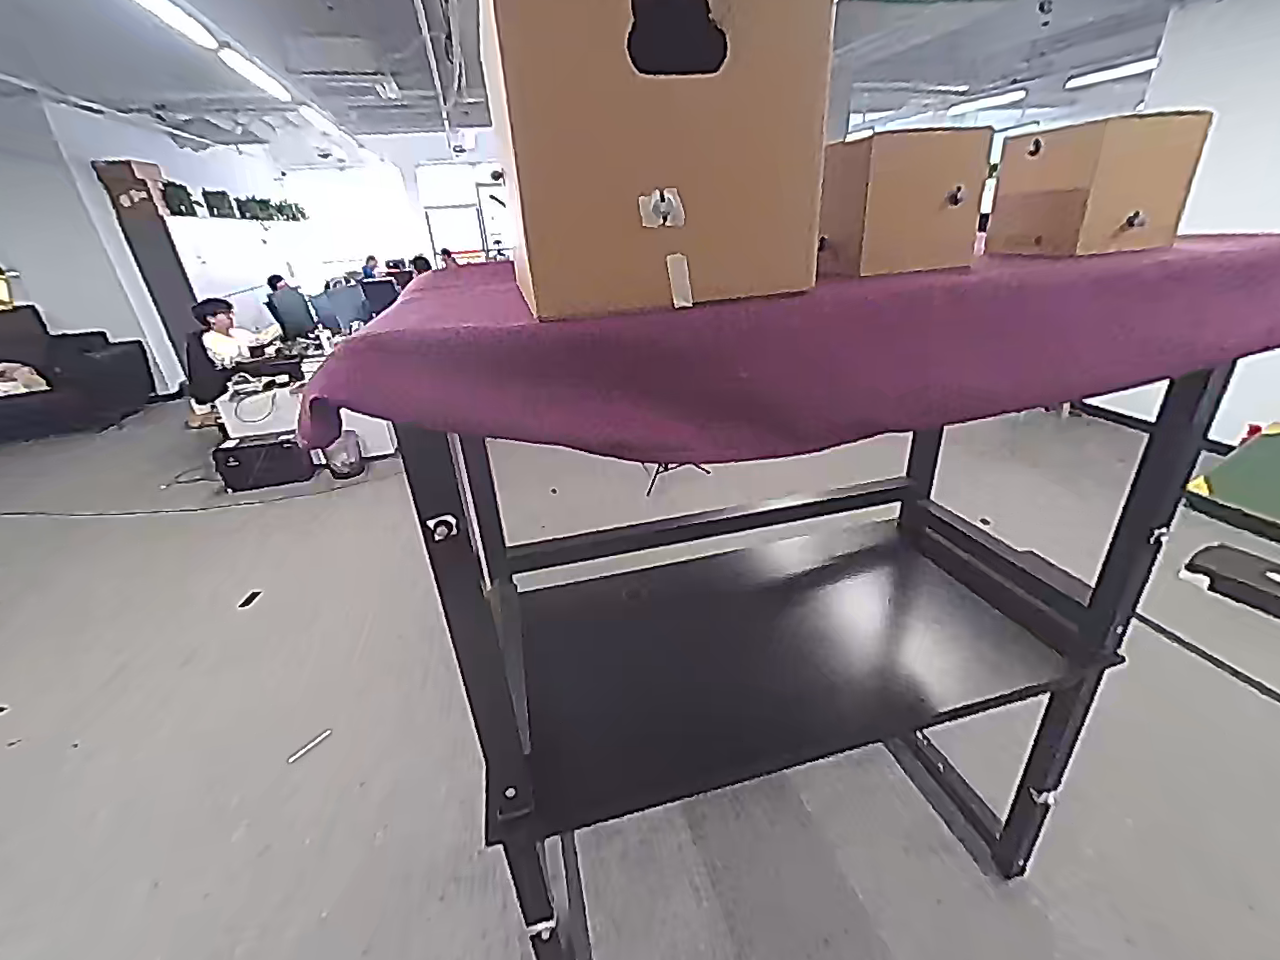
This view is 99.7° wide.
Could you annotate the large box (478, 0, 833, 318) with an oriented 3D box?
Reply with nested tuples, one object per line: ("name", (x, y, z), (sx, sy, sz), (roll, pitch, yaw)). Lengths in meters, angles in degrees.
("large box", (-0.012, -0.394, 0.668), (0.320, 0.320, 0.408), (-10, 25, -12))

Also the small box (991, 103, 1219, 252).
("small box", (0.661, -0.436, 0.795), (0.179, 0.176, 0.168), (-9, 25, -9))

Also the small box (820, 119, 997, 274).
("small box", (0.350, -0.392, 0.761), (0.179, 0.176, 0.168), (-9, 25, -9))
